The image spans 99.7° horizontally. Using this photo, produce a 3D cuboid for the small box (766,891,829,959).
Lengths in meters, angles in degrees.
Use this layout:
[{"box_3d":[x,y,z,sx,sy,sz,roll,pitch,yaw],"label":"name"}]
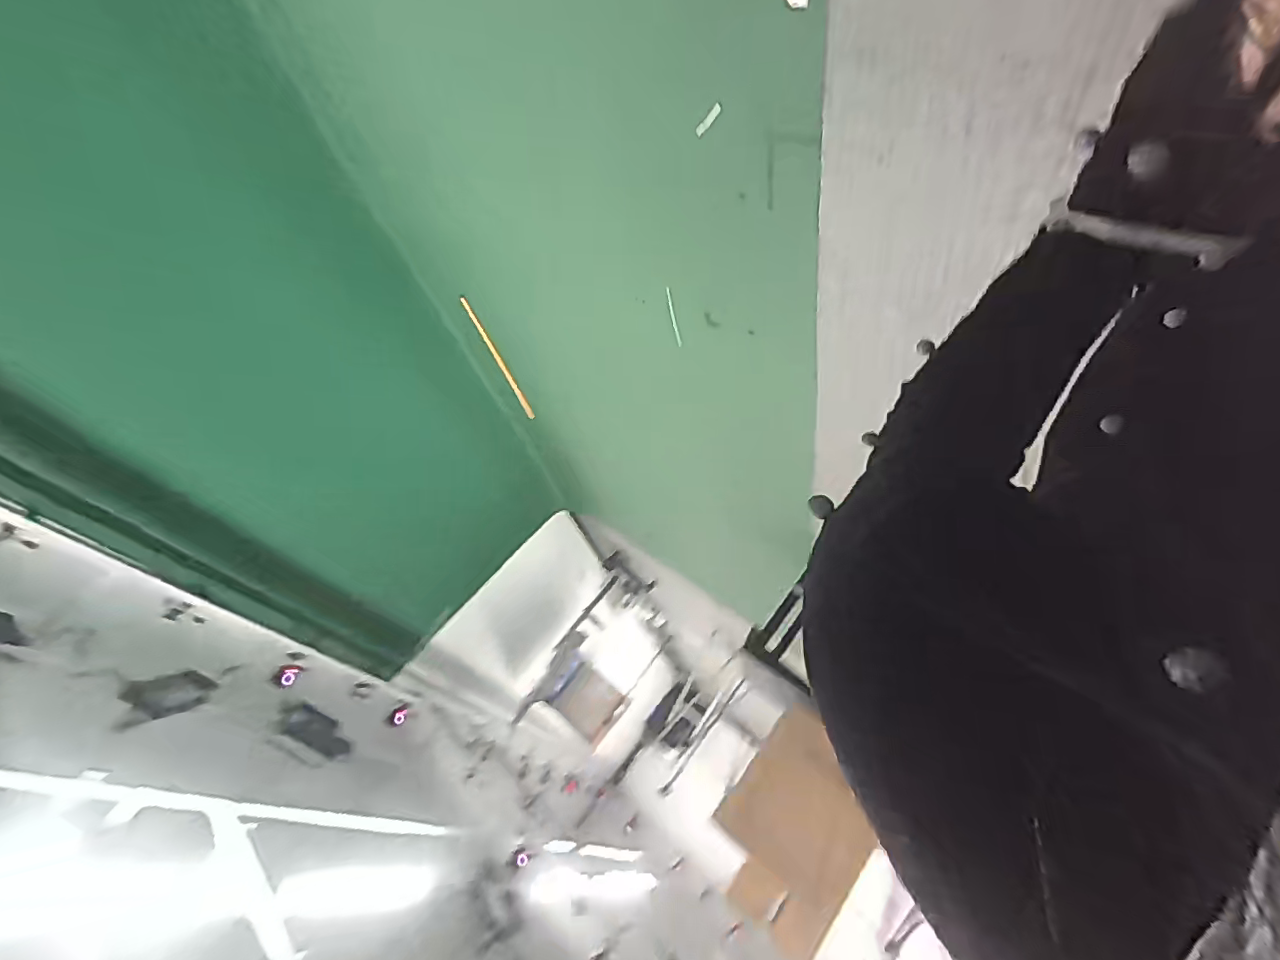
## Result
[{"box_3d":[0.605,1.728,2.077,0.168,0.176,0.179,31,157,26],"label":"small box"}]
